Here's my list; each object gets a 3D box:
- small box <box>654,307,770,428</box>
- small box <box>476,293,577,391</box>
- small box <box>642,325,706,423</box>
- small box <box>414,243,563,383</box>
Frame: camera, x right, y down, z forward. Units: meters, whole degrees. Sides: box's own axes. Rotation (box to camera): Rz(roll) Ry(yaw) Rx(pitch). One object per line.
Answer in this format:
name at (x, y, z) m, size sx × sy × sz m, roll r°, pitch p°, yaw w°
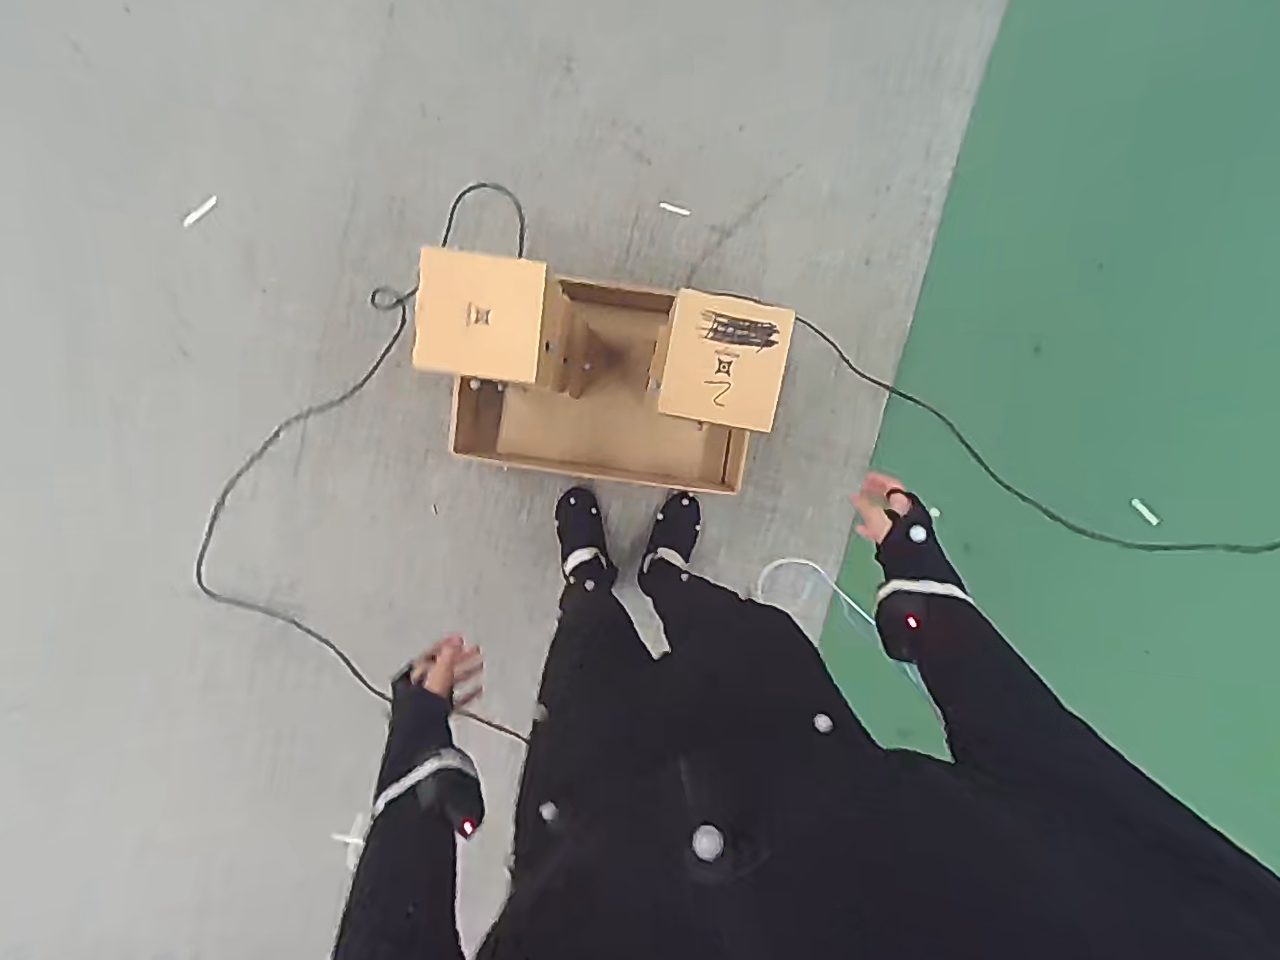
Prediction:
small box at (0.122, -0.197, 0.993) m, size 0.168 × 0.176 × 0.179 m, roll 12°, pitch 95°, yaw -3°
small box at (-0.222, -0.259, 0.983) m, size 0.179 × 0.176 × 0.168 m, roll 12°, pitch 97°, yaw -3°
small box at (0.105, -0.217, 1.156) m, size 0.179 × 0.176 × 0.168 m, roll 12°, pitch 96°, yaw -2°
small box at (-0.219, -0.241, 0.822) m, size 0.179 × 0.176 × 0.168 m, roll 8°, pitch 97°, yaw -1°
